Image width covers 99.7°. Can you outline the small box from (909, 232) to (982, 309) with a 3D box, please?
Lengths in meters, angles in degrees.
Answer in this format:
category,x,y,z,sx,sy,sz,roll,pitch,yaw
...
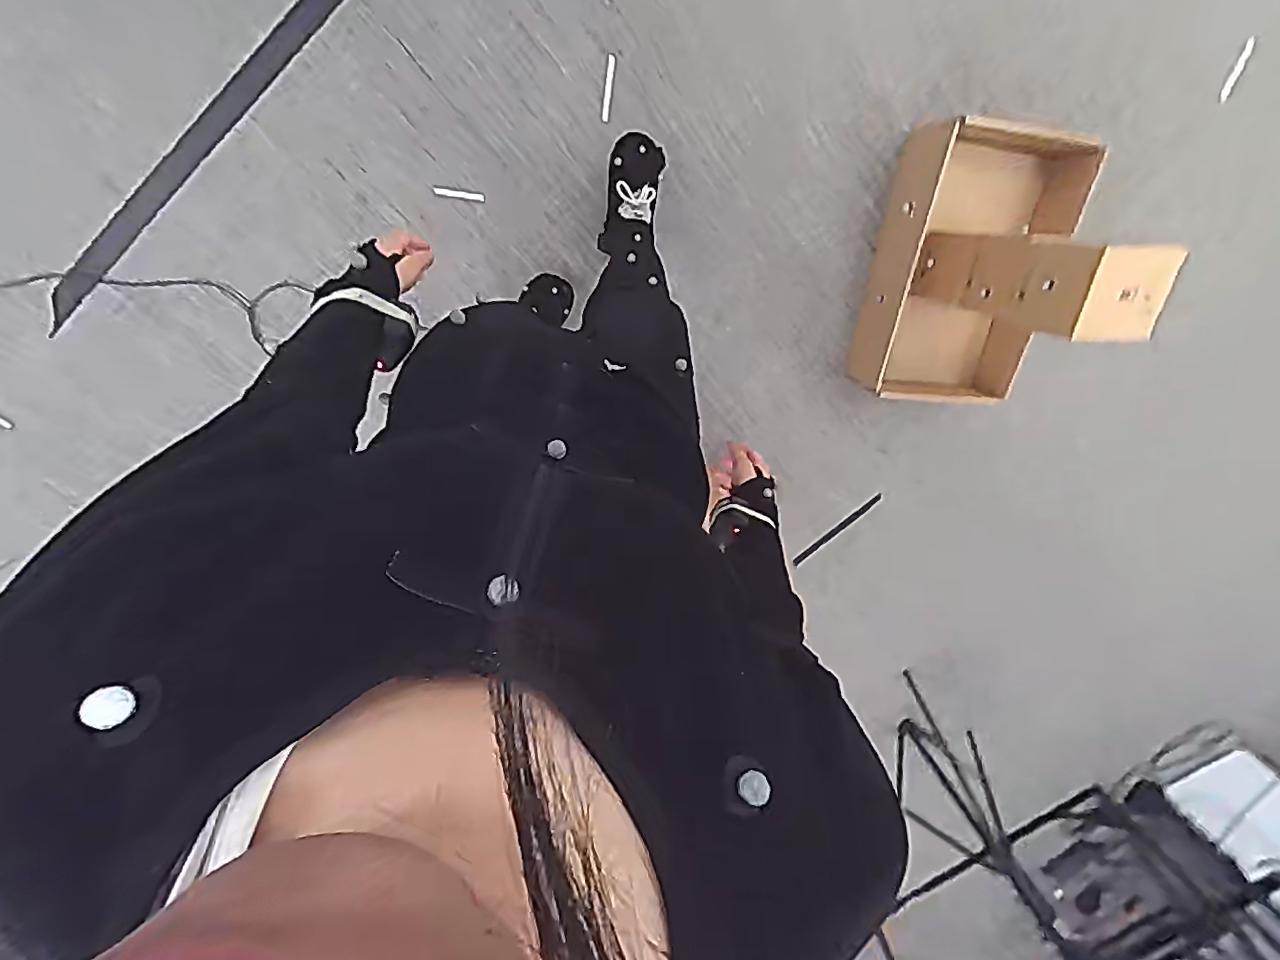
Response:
category,x,y,z,sx,sy,sz,roll,pitch,yaw
small box,0.822,-0.524,1.356,0.179,0.176,0.168,2,116,-11

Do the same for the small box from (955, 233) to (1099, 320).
category,x,y,z,sx,sy,sz,roll,pitch,yaw
small box,0.851,-0.457,1.212,0.179,0.176,0.168,-3,119,-10

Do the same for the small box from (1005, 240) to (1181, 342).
category,x,y,z,sx,sy,sz,roll,pitch,yaw
small box,0.876,-0.376,1.069,0.179,0.176,0.168,-3,119,-9
